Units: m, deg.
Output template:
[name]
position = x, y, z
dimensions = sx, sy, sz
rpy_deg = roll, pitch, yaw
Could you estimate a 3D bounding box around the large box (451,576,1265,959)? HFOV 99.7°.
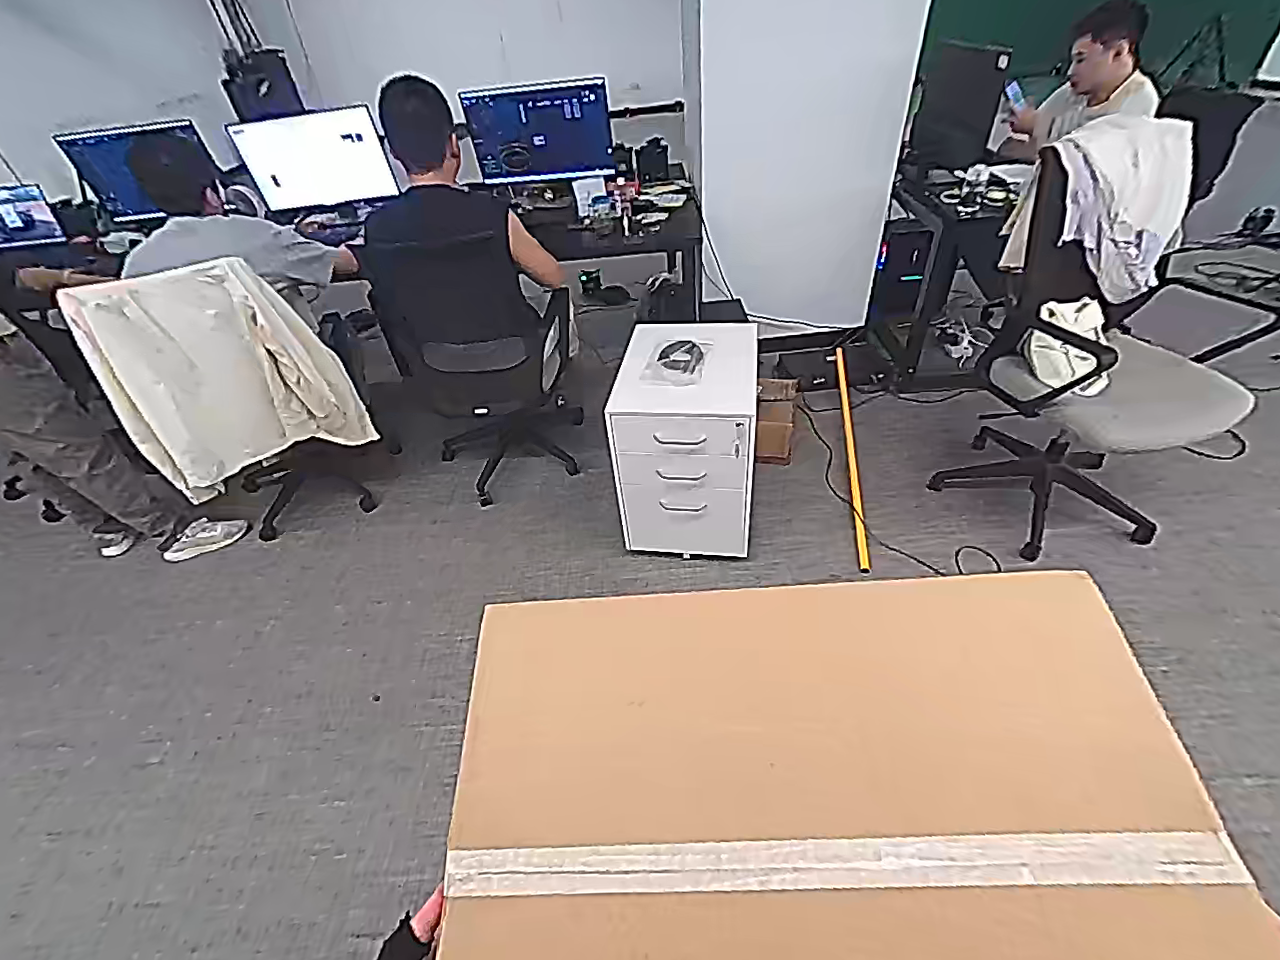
[large box]
position = 0.111, 0.292, 0.415
dimensions = 0.408, 0.320, 0.320
rpy_deg = -5, 56, 5
